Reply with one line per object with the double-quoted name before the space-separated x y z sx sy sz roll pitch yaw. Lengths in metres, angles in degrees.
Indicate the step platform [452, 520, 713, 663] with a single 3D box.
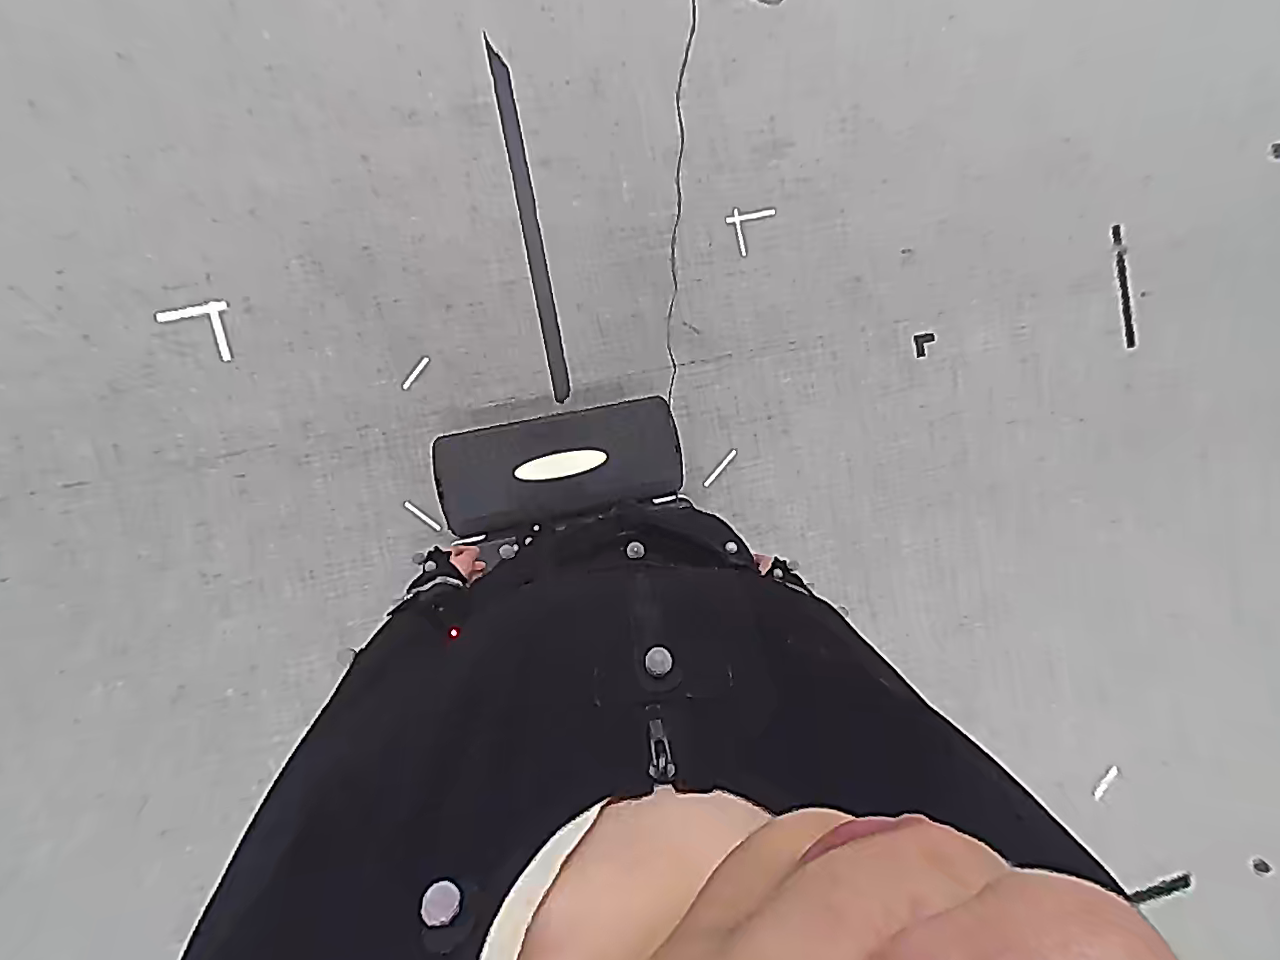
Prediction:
"step platform" -0.145 0.290 1.460 0.684 0.204 0.286 -7 90 -5
